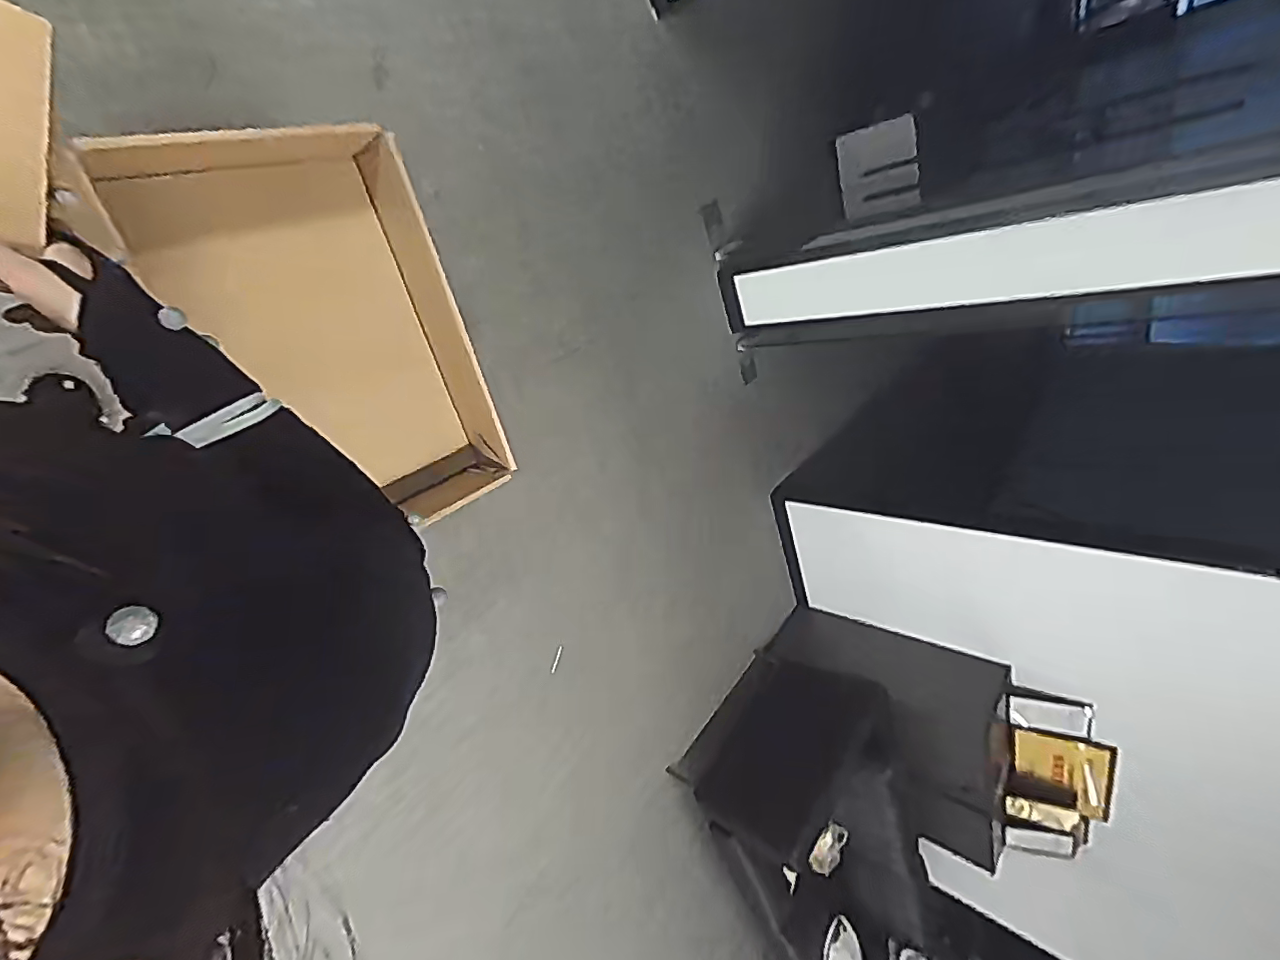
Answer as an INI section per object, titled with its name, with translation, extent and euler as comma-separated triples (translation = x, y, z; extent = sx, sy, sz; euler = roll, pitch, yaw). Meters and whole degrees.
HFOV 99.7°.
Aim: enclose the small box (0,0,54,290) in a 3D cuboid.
[small box]
translation = -0.506, -0.231, 0.350
extent = 0.168, 0.176, 0.179
euler = 2, 101, -47
